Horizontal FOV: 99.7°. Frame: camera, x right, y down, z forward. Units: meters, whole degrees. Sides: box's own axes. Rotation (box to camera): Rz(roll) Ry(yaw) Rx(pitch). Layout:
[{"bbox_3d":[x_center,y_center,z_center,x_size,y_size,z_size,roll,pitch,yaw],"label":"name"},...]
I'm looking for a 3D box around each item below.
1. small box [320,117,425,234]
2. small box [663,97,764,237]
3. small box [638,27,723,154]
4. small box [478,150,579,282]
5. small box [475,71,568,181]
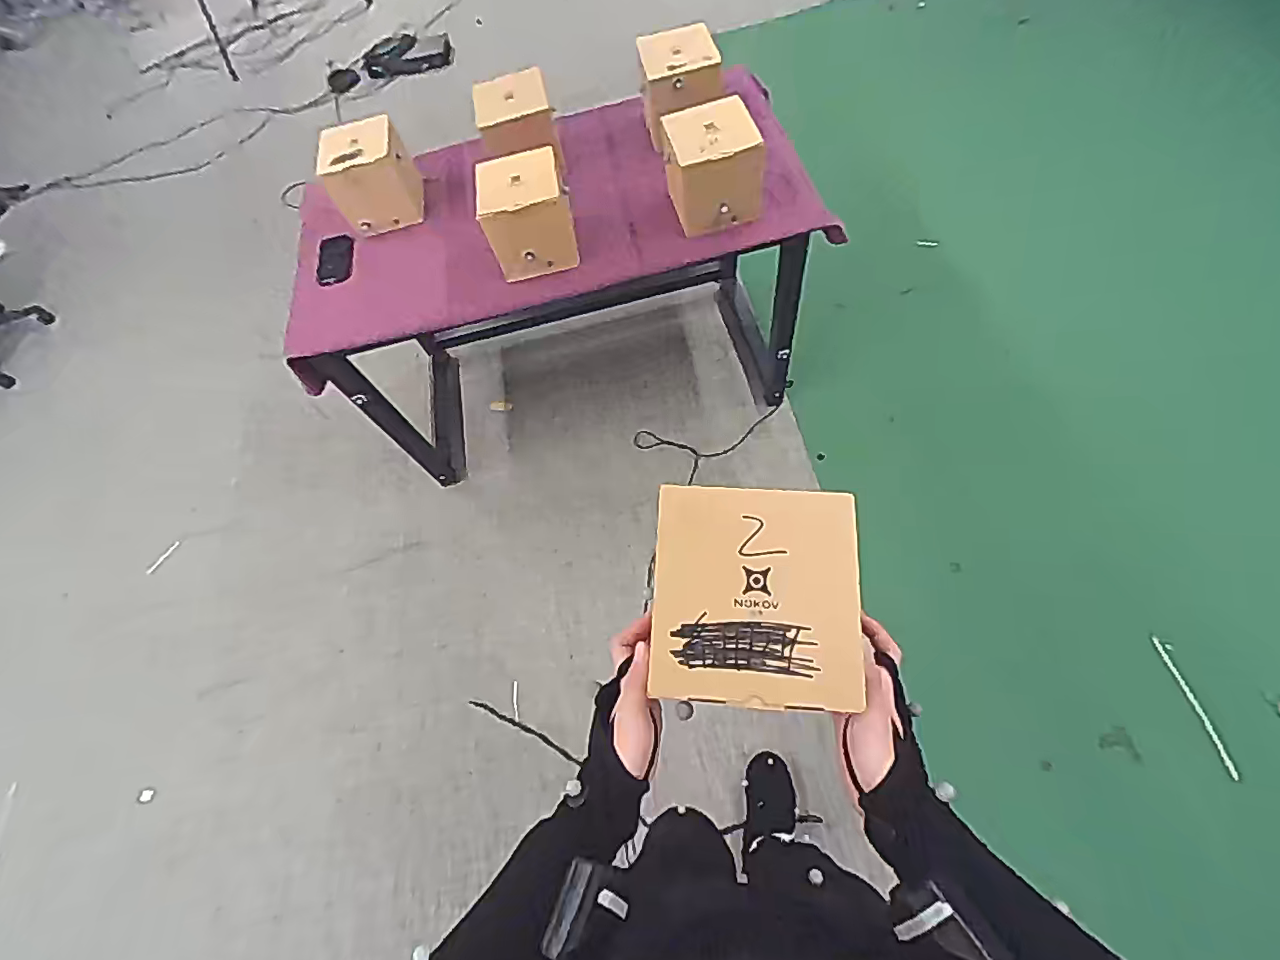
[{"bbox_3d":[-0.630,-0.717,1.294,0.168,0.176,0.179,-14,62,2],"label":"small box"},{"bbox_3d":[0.152,-0.648,1.131,0.168,0.176,0.179,-15,63,3],"label":"small box"},{"bbox_3d":[0.097,-0.915,1.278,0.168,0.176,0.179,-13,62,4],"label":"small box"},{"bbox_3d":[-0.234,-0.558,1.152,0.168,0.176,0.179,-12,62,3],"label":"small box"},{"bbox_3d":[-0.281,-0.825,1.295,0.168,0.176,0.179,-14,63,3],"label":"small box"}]
